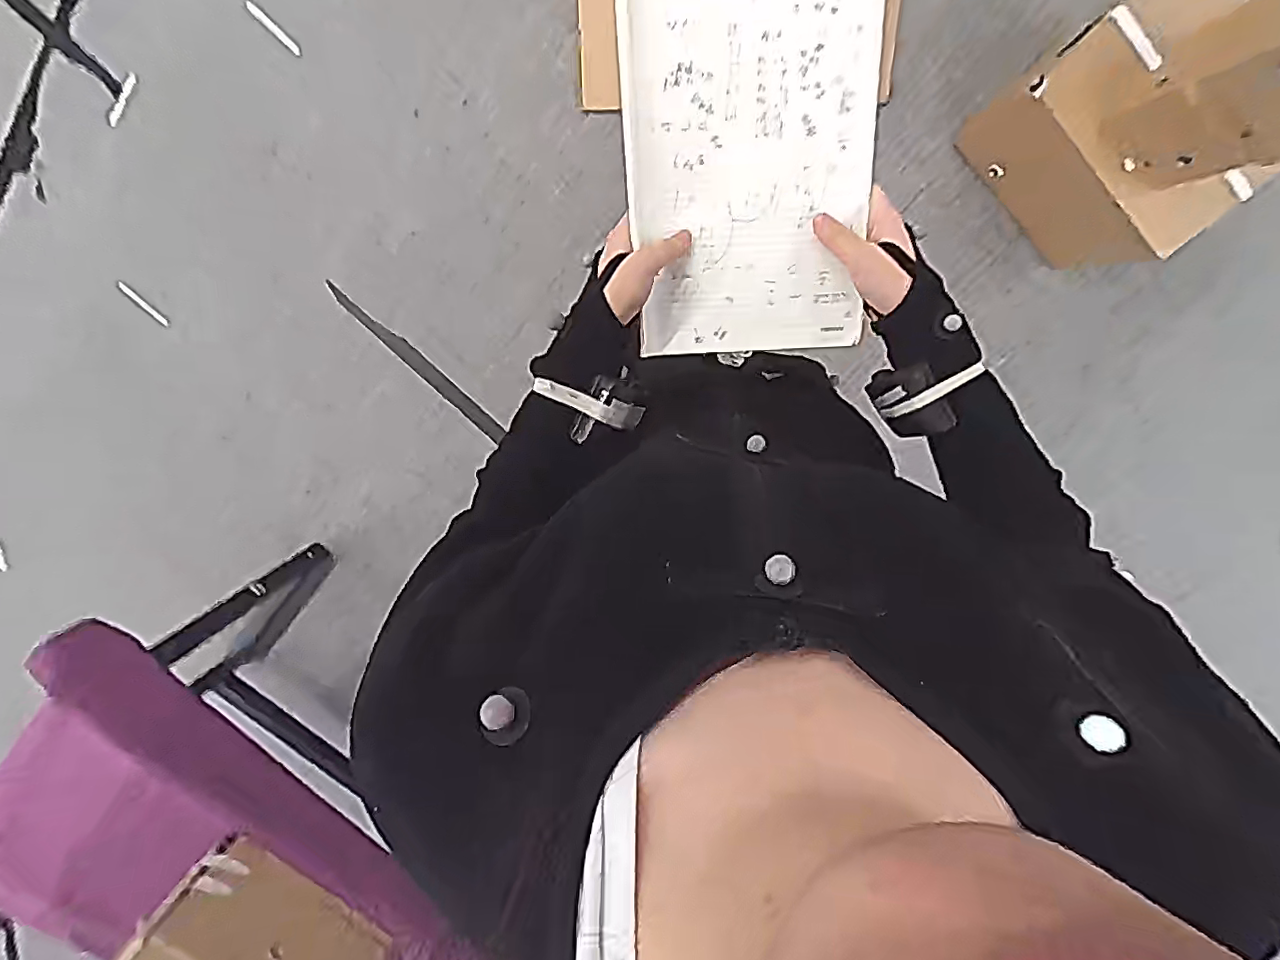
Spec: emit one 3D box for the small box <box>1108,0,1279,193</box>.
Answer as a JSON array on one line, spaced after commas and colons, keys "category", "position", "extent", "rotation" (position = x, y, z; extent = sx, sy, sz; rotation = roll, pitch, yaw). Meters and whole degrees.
[{"category": "small box", "position": [0.910, -0.597, 0.863], "extent": [0.168, 0.176, 0.179], "rotation": [39, 105, -9]}]
